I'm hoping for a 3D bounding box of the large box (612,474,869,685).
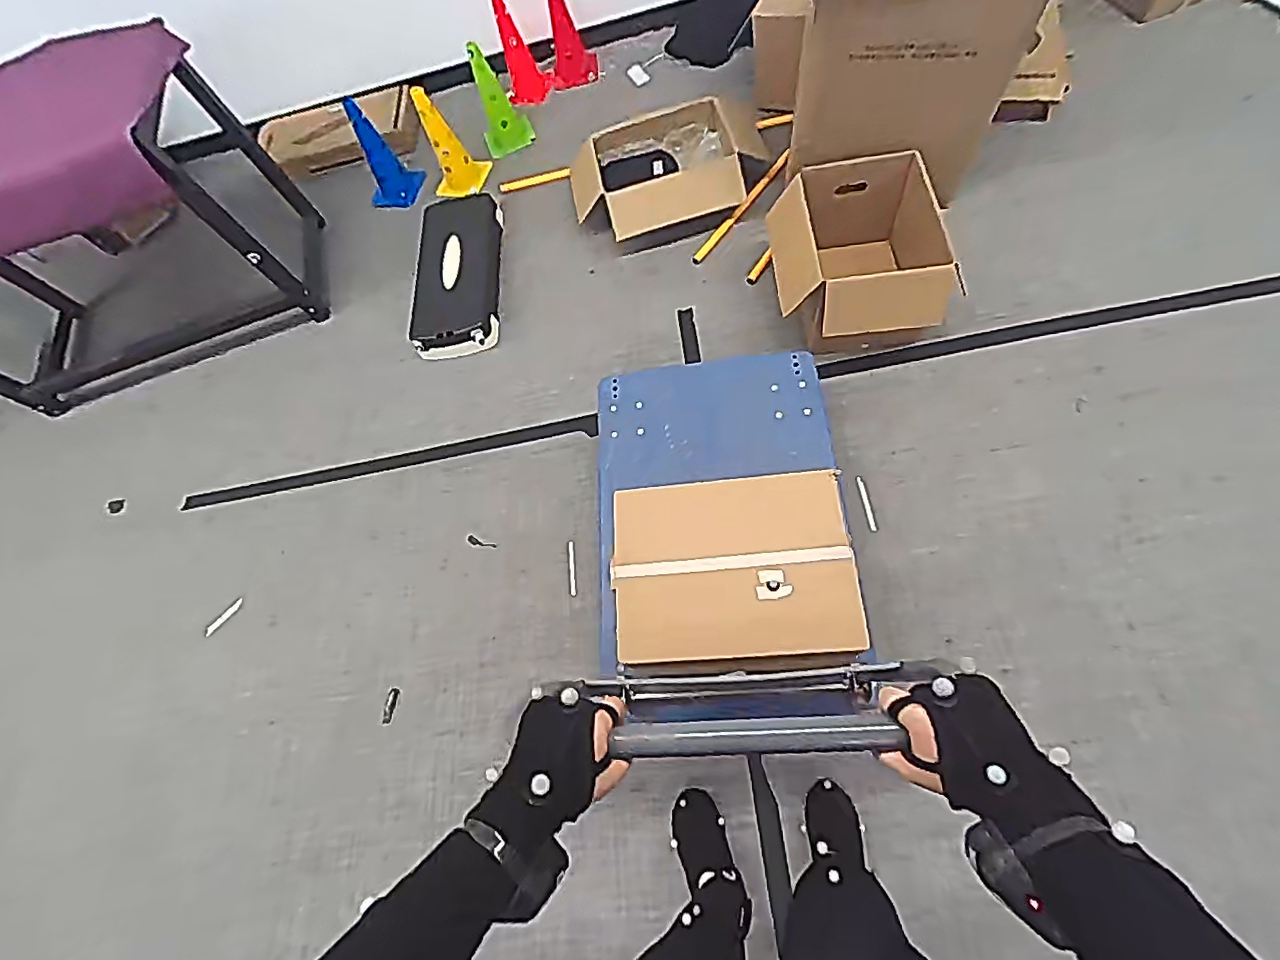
[{"bbox_3d":[0.173,0.212,1.053,0.408,0.320,0.320,-7,66,7],"label":"large box"}]
